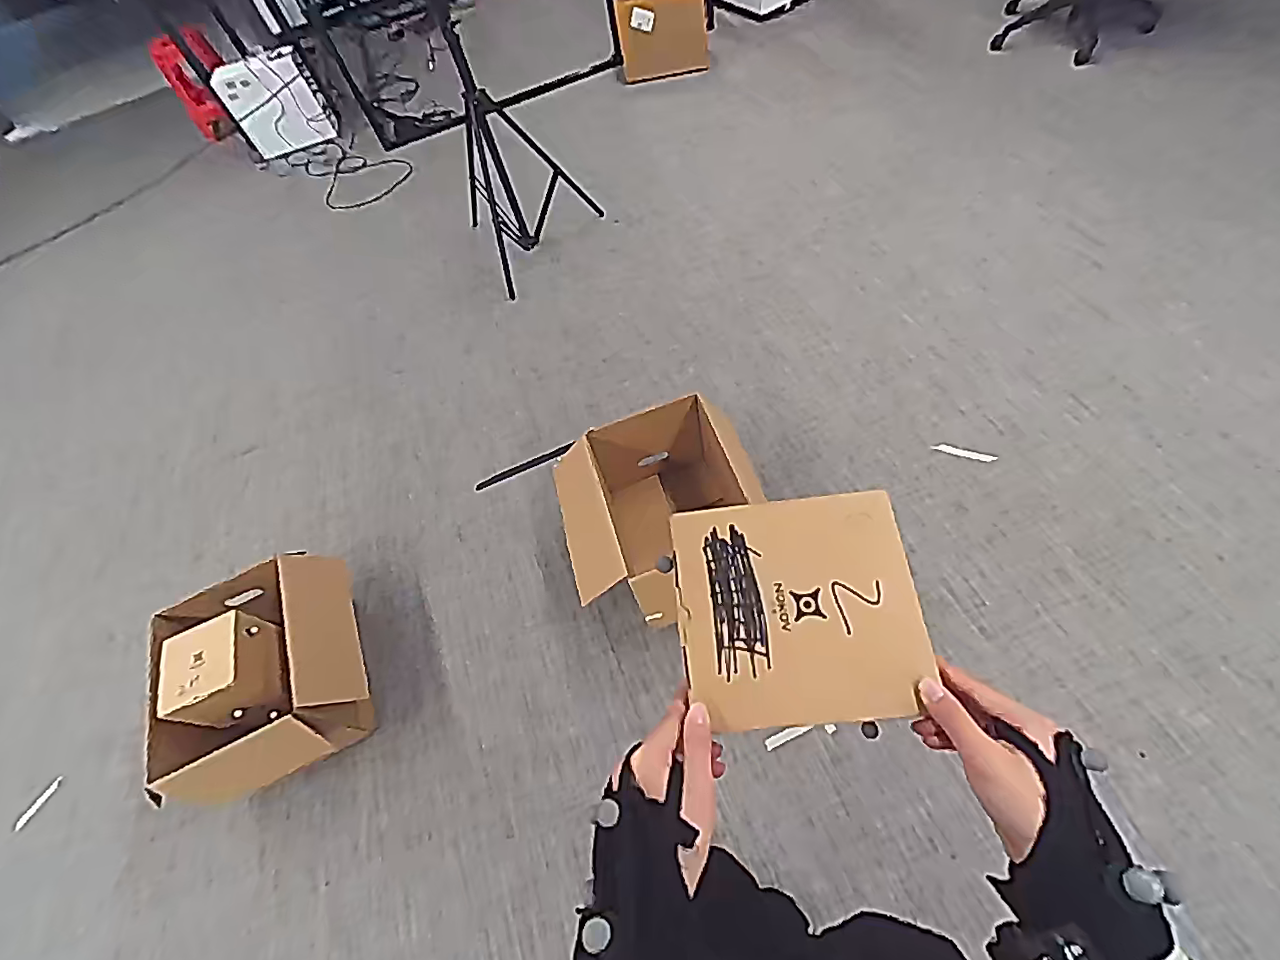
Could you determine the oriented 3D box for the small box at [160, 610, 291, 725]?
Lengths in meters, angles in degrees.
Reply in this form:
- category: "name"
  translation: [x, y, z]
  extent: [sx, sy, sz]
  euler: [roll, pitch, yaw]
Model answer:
- category: "small box"
  translation: [-0.920, 0.426, 1.217]
  extent: [0.168, 0.176, 0.179]
  euler: [-25, 58, -4]
